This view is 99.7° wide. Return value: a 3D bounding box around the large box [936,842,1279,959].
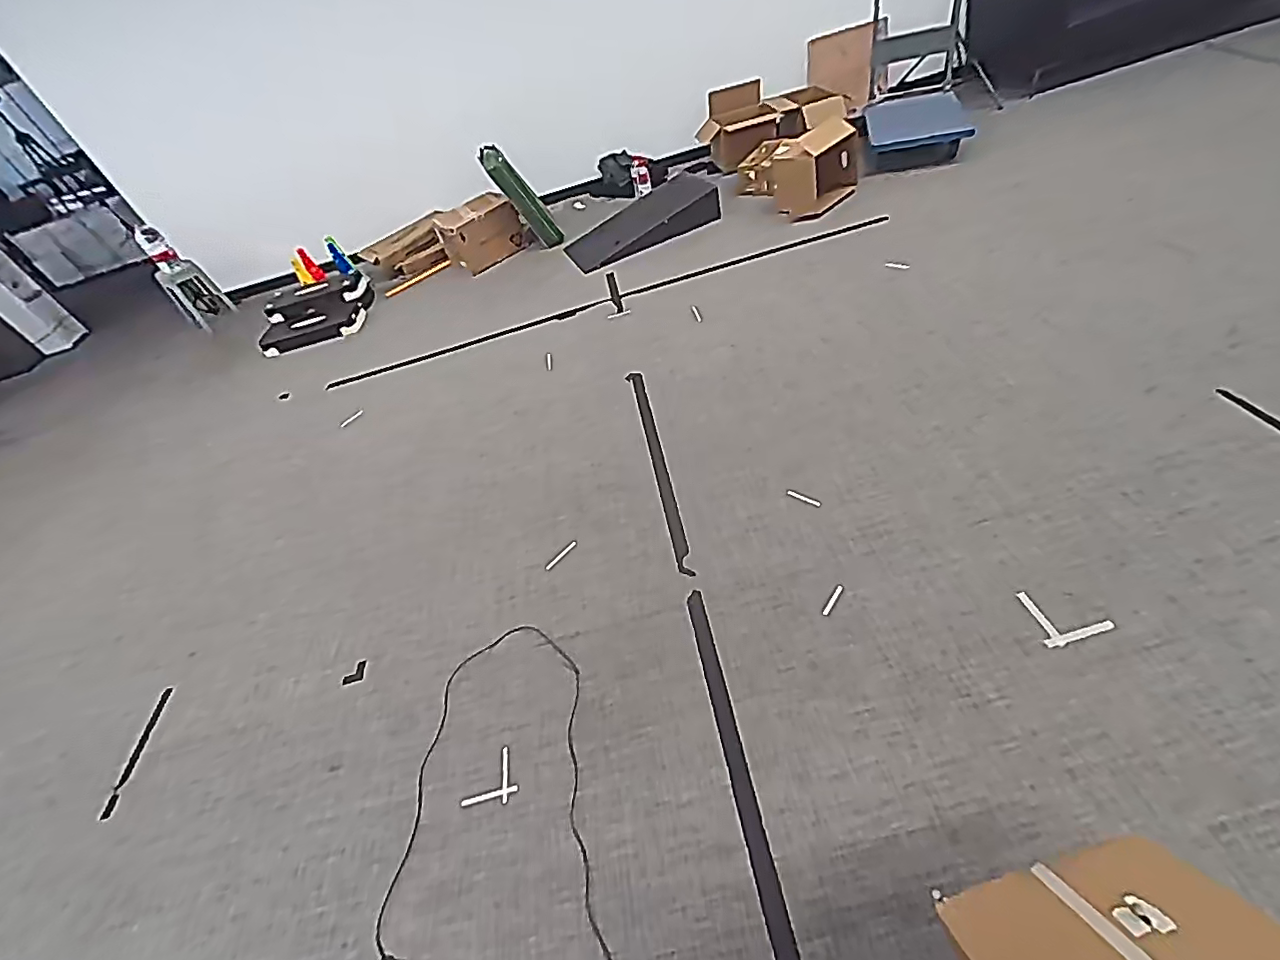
[{"bbox_3d":[0.612,0.688,0.566,0.320,0.408,0.320,-19,81,1],"label":"large box"}]
